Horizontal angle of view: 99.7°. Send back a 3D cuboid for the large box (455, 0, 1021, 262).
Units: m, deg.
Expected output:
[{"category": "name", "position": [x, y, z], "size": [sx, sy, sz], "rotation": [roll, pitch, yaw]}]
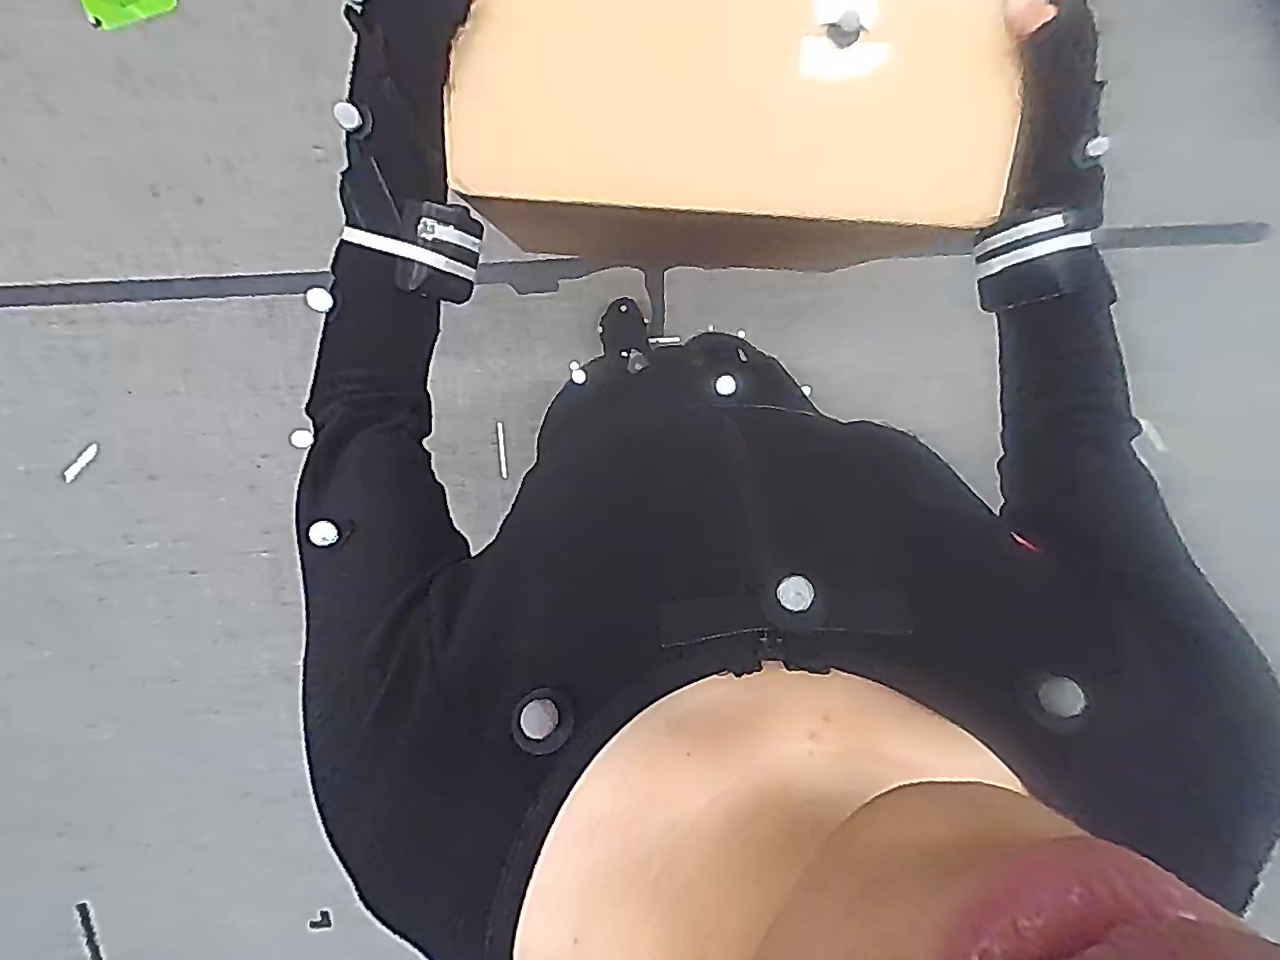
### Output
[{"category": "large box", "position": [0.063, -0.397, 0.512], "size": [0.408, 0.320, 0.320], "rotation": [2, 105, -4]}]
